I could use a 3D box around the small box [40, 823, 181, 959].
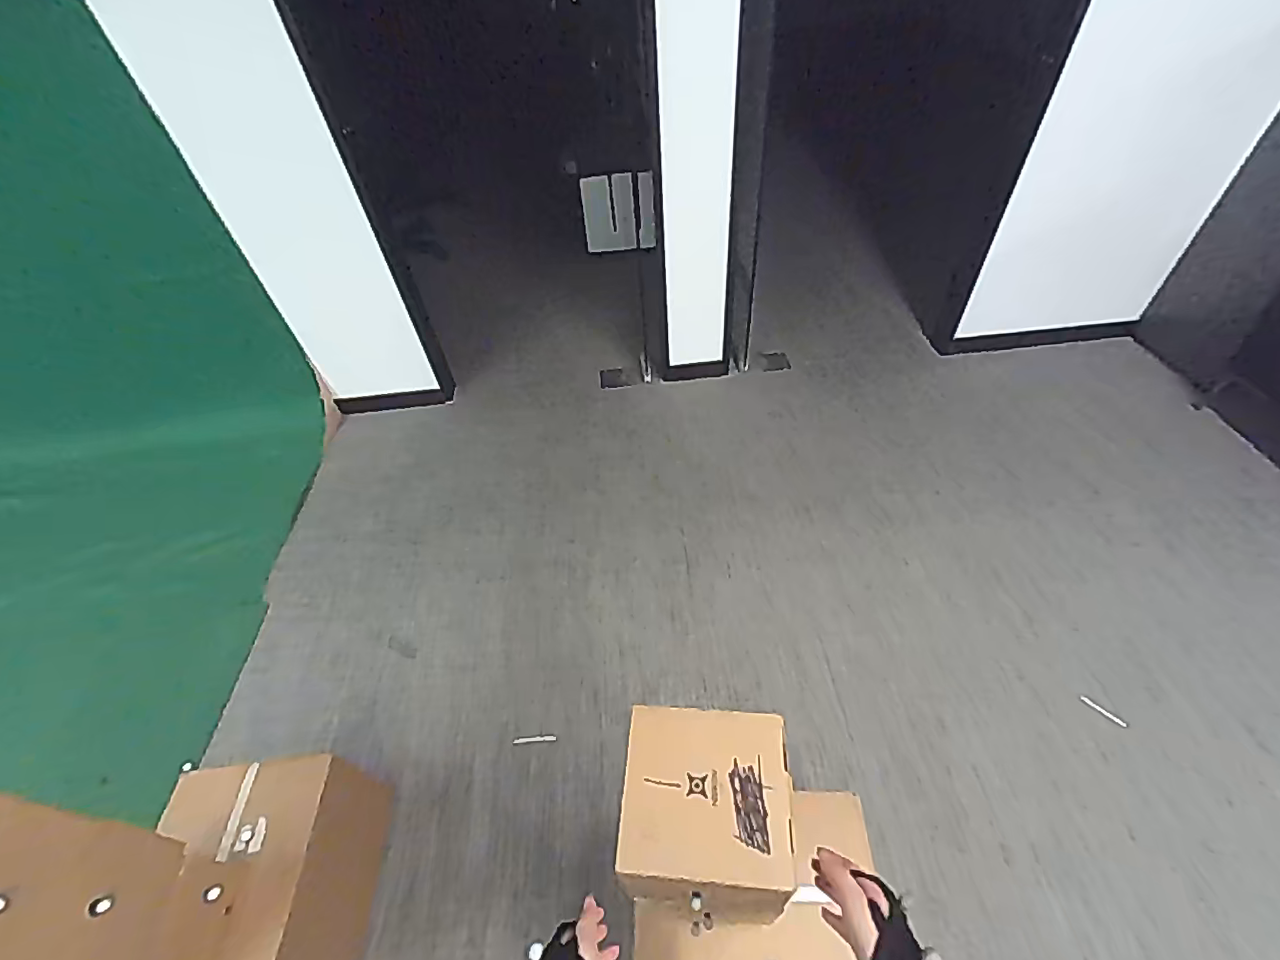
[{"bbox_3d":[-0.789,0.600,0.738,0.168,0.176,0.179,-10,46,-4],"label":"small box"}]

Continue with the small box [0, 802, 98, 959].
[{"bbox_3d":[-0.800,0.488,0.618,0.168,0.176,0.179,-8,47,-2],"label":"small box"}]

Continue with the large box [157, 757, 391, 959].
[{"bbox_3d":[-0.748,0.830,1.078,0.320,0.320,0.408,-6,46,0],"label":"large box"}]

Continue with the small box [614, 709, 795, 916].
[{"bbox_3d":[0.075,0.387,0.628,0.179,0.176,0.168,1,46,8],"label":"small box"}]

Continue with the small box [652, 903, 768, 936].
[{"bbox_3d":[0.108,0.611,0.867,0.168,0.176,0.179,-1,45,4],"label":"small box"}]
